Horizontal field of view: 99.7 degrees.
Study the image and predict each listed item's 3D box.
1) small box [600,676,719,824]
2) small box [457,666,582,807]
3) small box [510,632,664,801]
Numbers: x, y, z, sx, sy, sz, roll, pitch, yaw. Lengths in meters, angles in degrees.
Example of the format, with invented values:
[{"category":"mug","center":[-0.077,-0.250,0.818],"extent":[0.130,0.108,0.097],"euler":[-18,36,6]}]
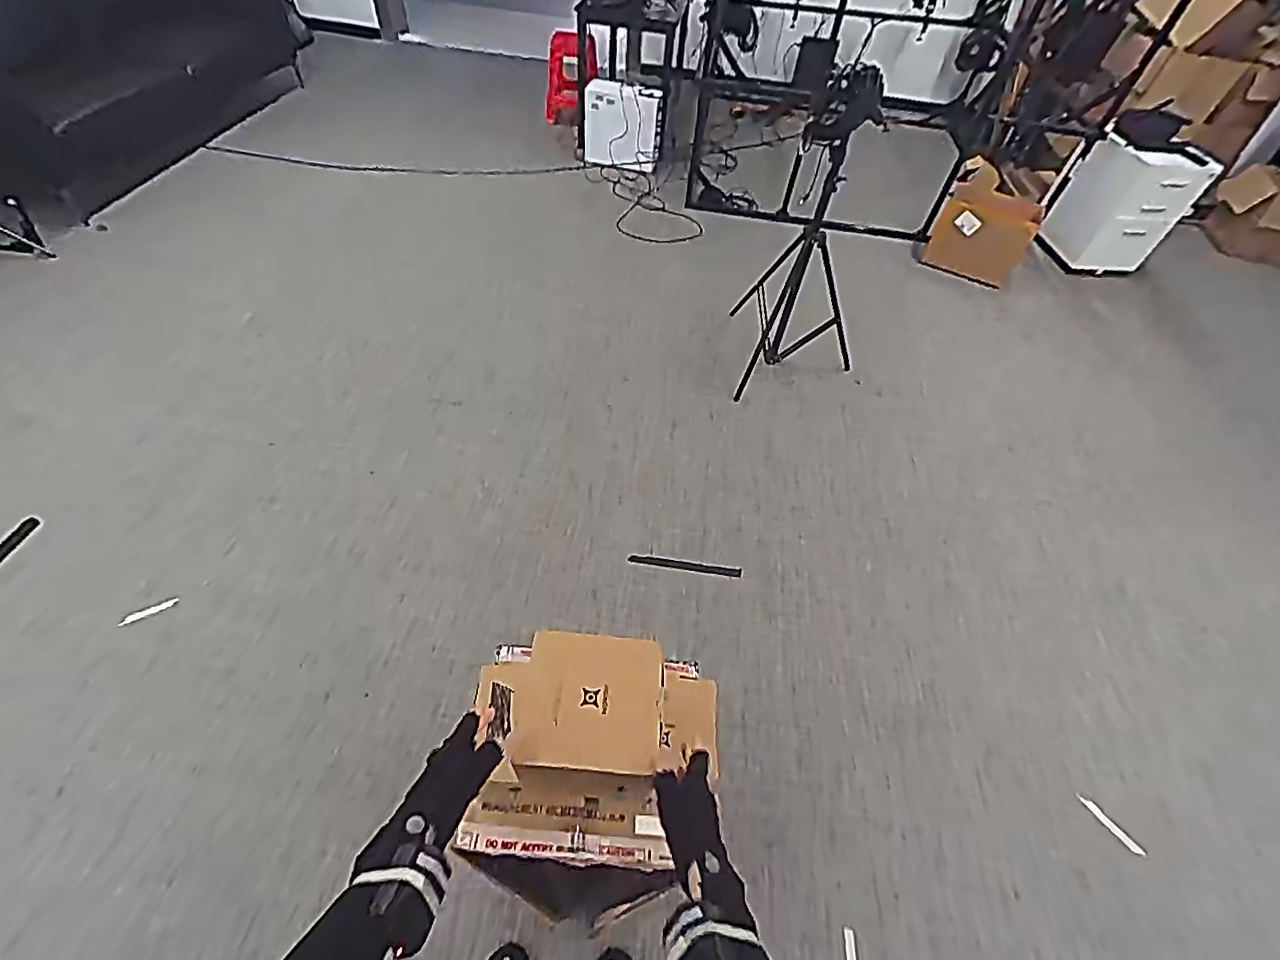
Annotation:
[{"category":"small box","center":[0.027,0.429,0.866],"extent":[0.168,0.176,0.179],"euler":[7,49,-2]},{"category":"small box","center":[-0.169,0.411,0.860],"extent":[0.179,0.176,0.168],"euler":[3,50,-2]},{"category":"small box","center":[-0.065,0.323,0.730],"extent":[0.179,0.176,0.168],"euler":[5,49,-2]}]
